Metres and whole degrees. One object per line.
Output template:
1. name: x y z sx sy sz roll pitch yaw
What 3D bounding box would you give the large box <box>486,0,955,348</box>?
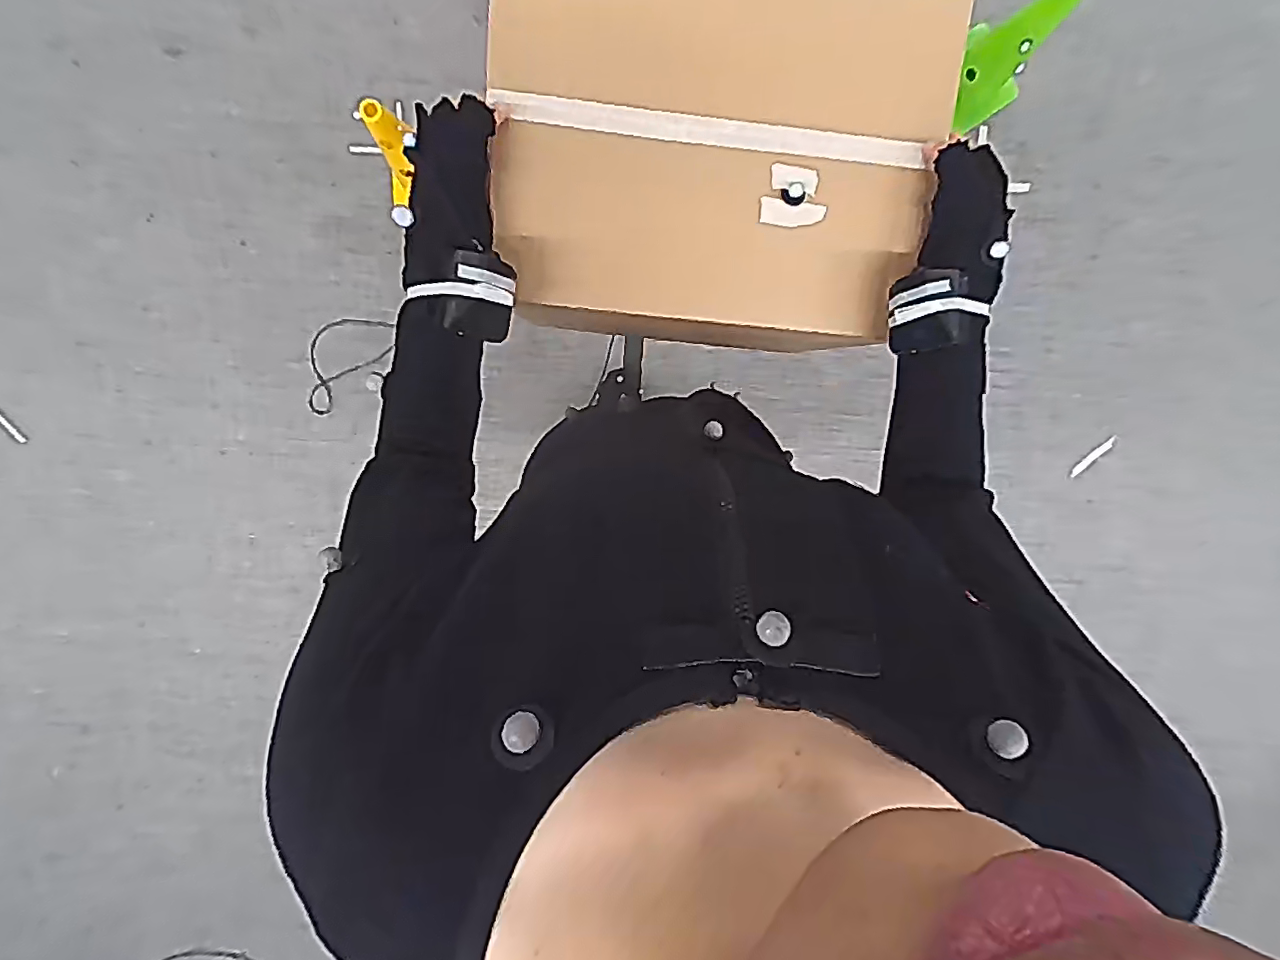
1. large box: 0.056 -0.332 0.621 0.408 0.320 0.320 4 101 -5

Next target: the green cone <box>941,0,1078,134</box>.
1. green cone: 0.828 -0.971 1.174 0.202 0.368 0.200 -35 100 2
